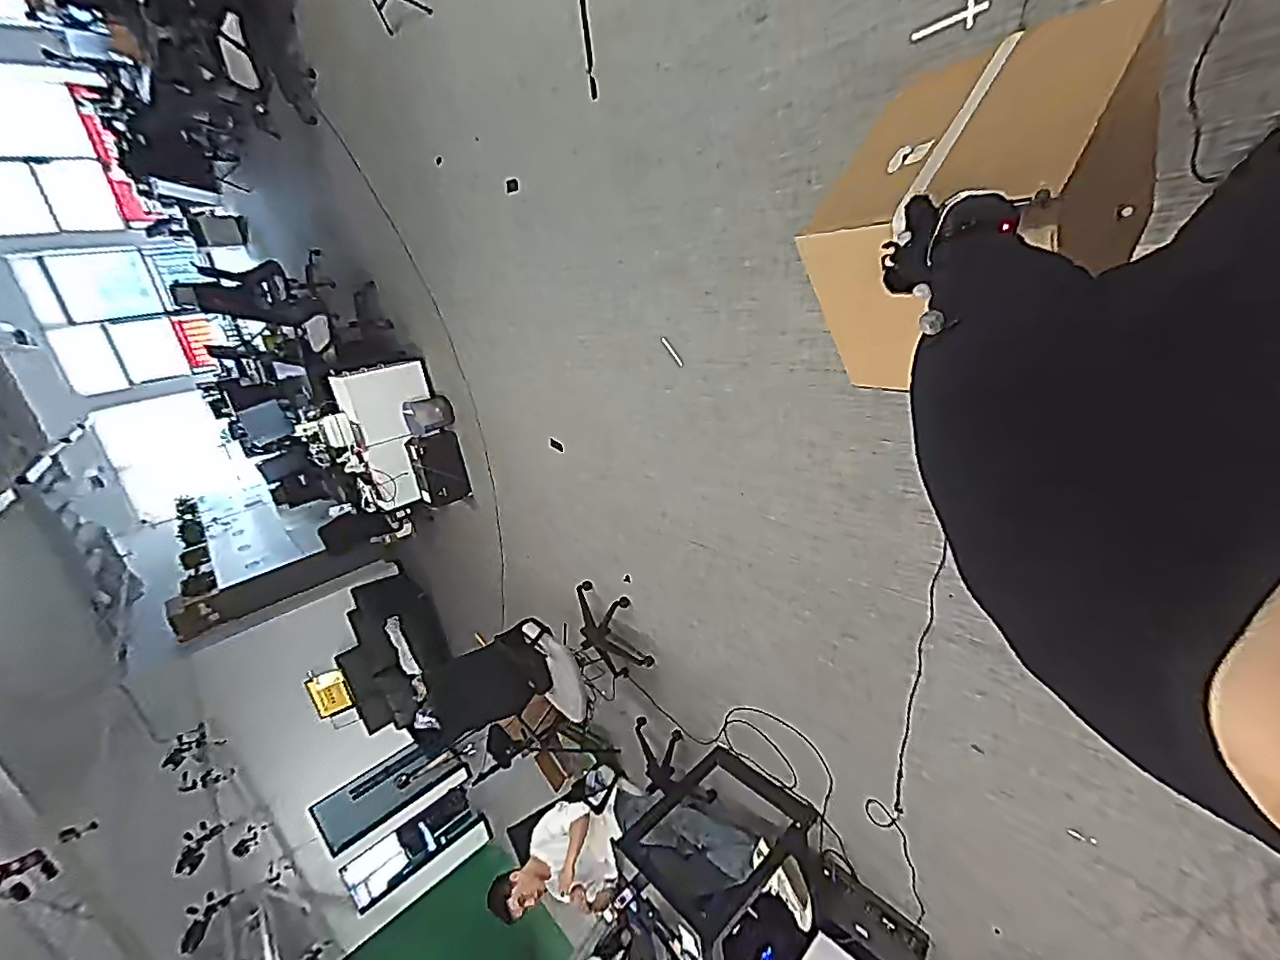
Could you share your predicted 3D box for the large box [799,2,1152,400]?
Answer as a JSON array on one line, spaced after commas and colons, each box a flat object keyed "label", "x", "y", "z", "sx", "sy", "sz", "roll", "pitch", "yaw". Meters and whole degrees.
[{"label": "large box", "x": 0.509, "y": -0.382, "z": 0.817, "sx": 0.320, "sy": 0.408, "sz": 0.320, "roll": 17, "pitch": 157, "yaw": 47}]
